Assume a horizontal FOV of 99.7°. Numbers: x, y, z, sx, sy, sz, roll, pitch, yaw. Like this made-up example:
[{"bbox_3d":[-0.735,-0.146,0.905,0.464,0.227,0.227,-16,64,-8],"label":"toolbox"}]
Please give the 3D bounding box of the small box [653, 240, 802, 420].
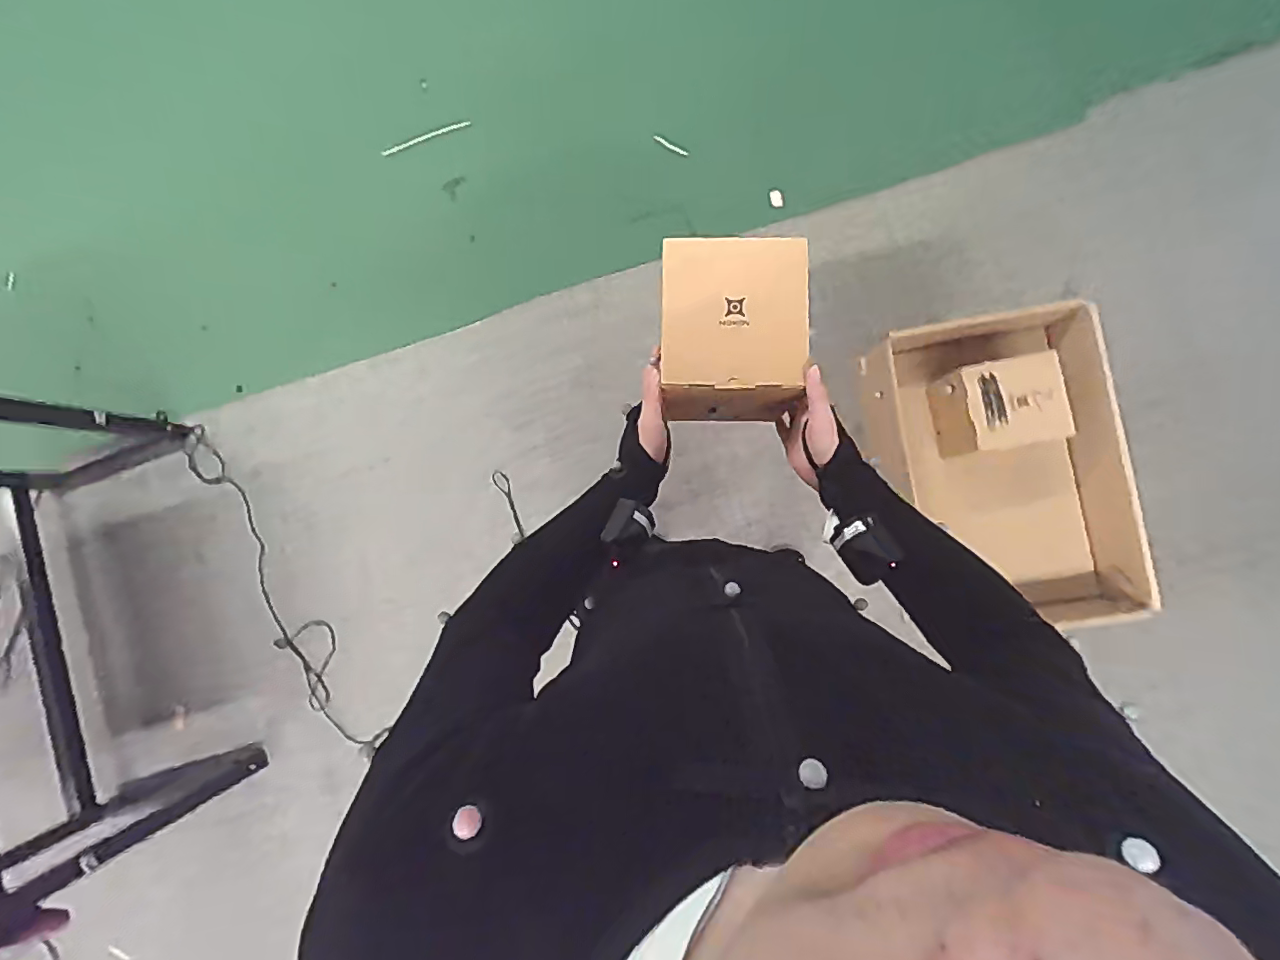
[{"bbox_3d":[0.101,-0.179,0.687,0.168,0.176,0.179,0,86,1],"label":"small box"}]
